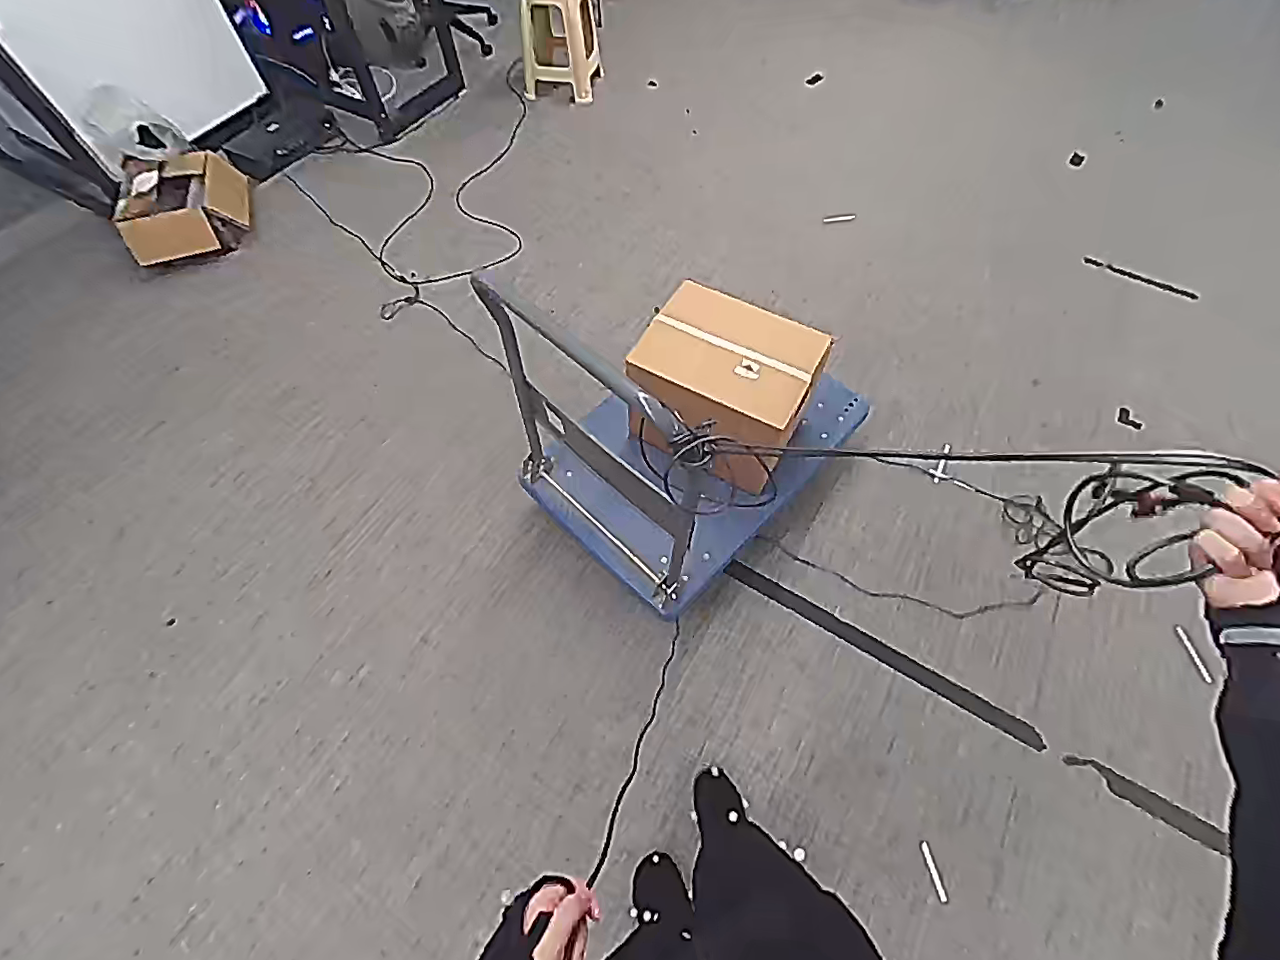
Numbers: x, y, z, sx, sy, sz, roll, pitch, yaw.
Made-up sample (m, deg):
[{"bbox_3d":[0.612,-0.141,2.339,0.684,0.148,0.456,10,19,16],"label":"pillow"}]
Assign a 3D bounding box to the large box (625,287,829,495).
[{"bbox_3d":[0.206,-0.226,1.404,0.408,0.320,0.320,27,65,14],"label":"large box"}]
